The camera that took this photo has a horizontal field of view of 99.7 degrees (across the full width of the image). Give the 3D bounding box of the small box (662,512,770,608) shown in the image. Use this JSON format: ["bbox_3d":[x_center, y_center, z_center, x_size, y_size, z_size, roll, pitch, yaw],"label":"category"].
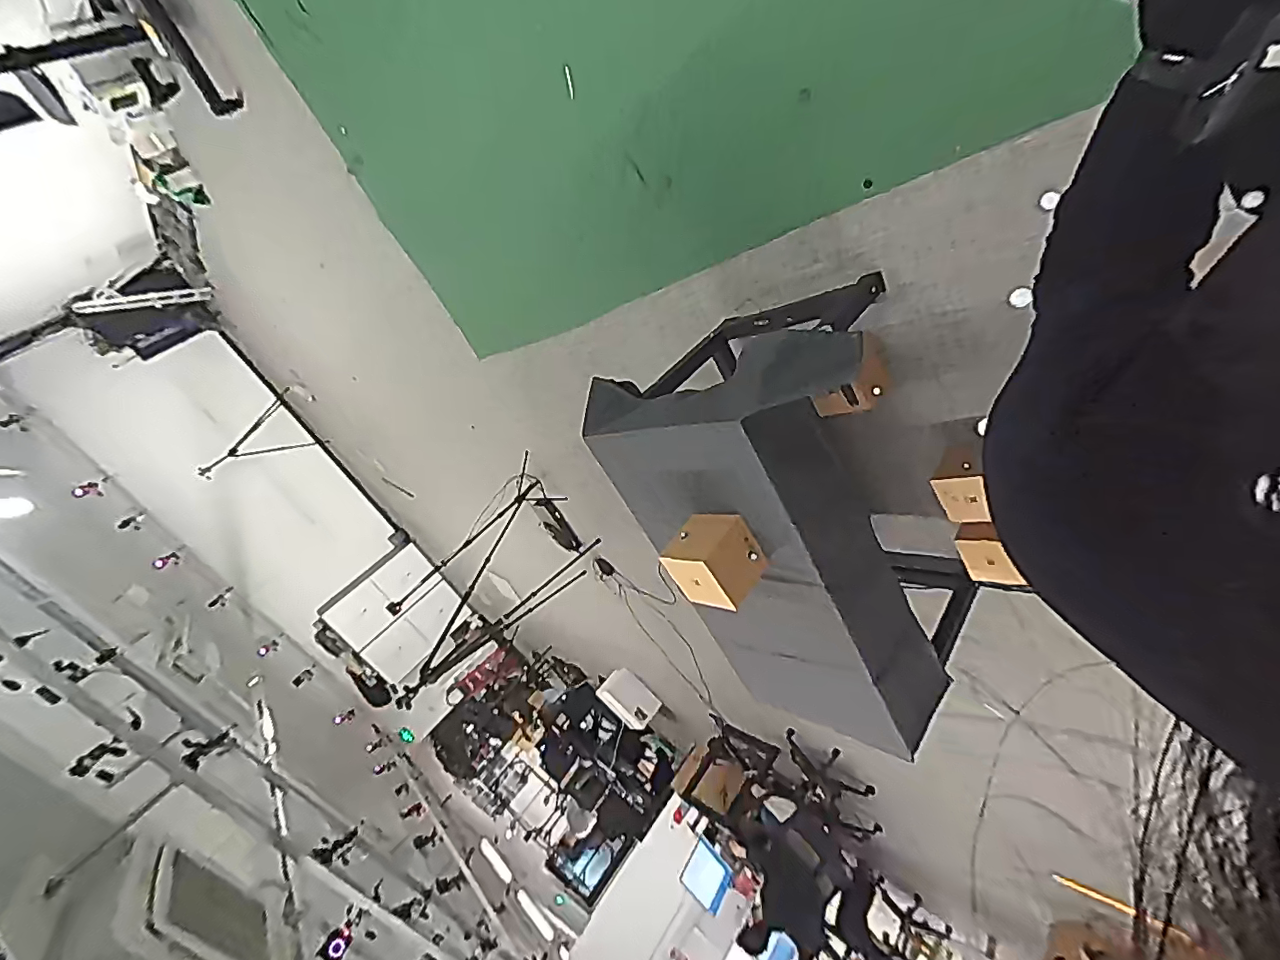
[{"bbox_3d":[0.195,0.196,1.375,0.179,0.176,0.168,-3,127,54],"label":"small box"}]
